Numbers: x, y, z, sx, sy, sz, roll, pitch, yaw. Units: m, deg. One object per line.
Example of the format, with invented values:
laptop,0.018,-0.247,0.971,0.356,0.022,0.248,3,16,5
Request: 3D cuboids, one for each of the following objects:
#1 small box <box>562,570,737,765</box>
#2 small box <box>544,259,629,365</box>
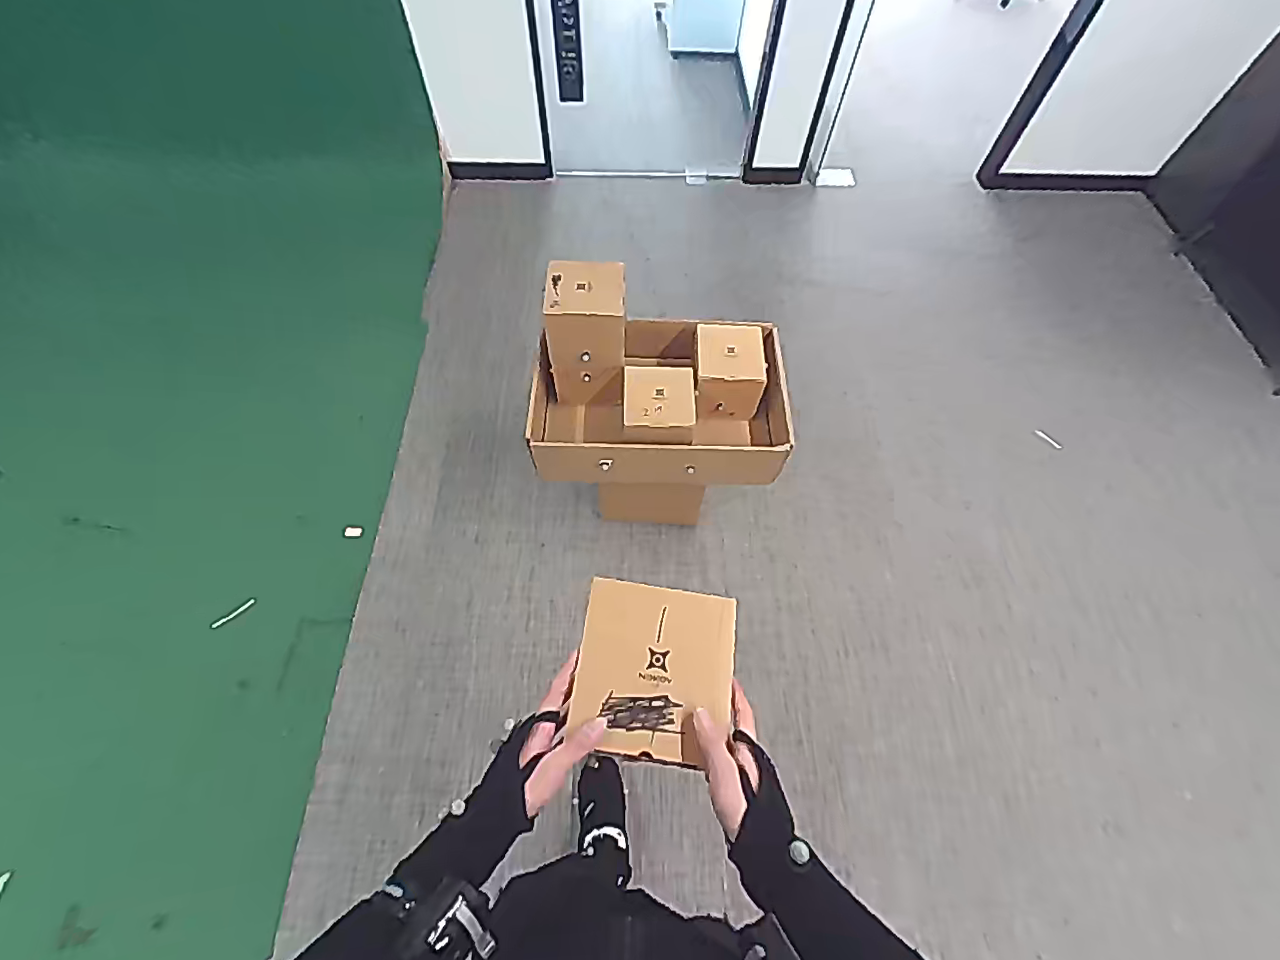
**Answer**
small box,0.010,0.225,0.637,0.168,0.176,0.179,10,62,-1
small box,-0.119,-0.385,1.253,0.179,0.176,0.168,2,61,-2
